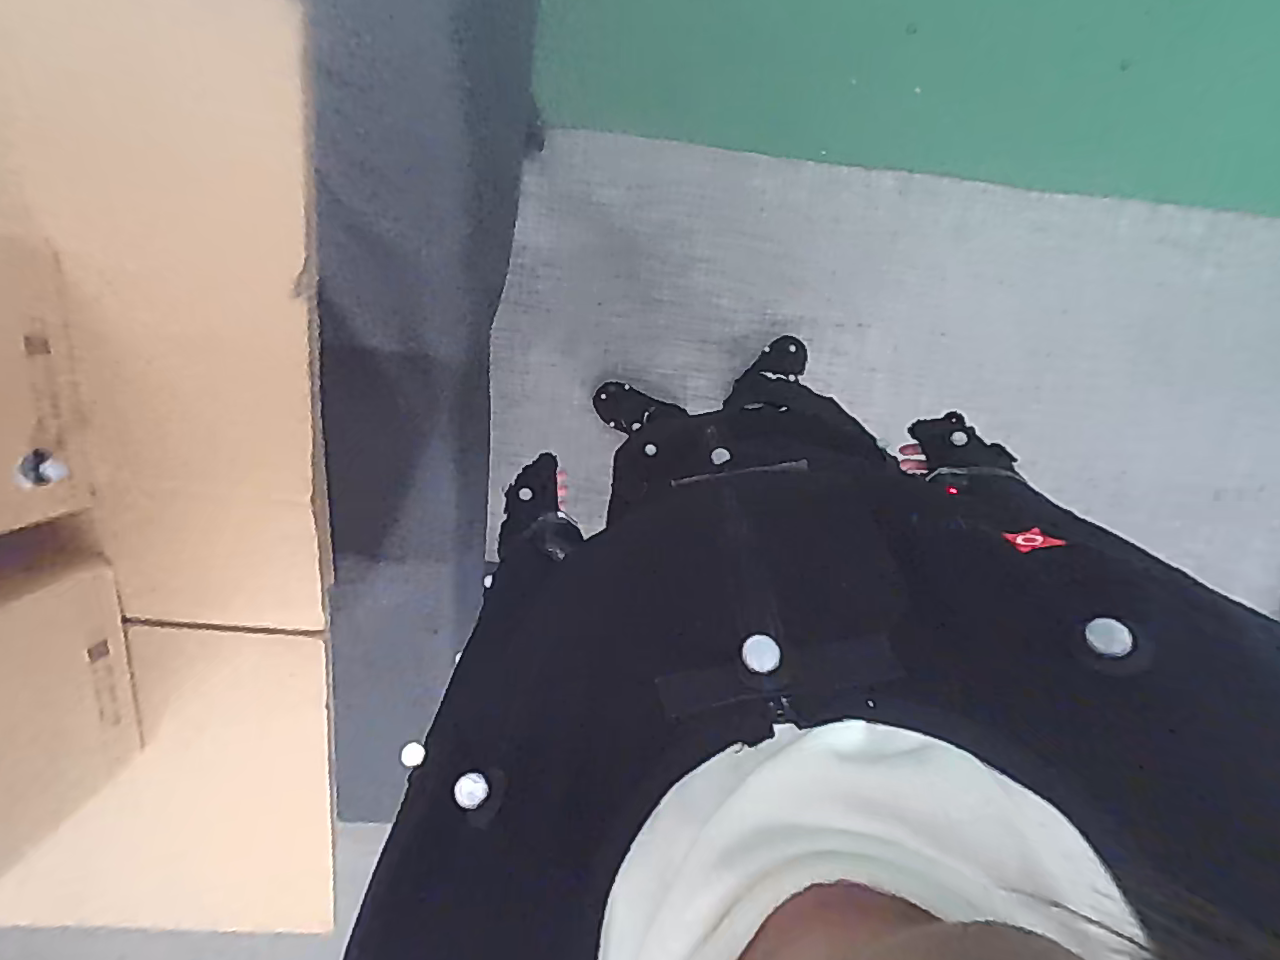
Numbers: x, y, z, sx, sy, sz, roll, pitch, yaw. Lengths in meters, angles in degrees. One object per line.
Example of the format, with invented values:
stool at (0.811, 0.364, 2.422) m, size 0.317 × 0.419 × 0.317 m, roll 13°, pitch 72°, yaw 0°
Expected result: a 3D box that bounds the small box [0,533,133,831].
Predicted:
small box at (-0.455, 0.131, 0.306) m, size 0.179 × 0.176 × 0.168 m, roll 6°, pitch 106°, yaw -3°
